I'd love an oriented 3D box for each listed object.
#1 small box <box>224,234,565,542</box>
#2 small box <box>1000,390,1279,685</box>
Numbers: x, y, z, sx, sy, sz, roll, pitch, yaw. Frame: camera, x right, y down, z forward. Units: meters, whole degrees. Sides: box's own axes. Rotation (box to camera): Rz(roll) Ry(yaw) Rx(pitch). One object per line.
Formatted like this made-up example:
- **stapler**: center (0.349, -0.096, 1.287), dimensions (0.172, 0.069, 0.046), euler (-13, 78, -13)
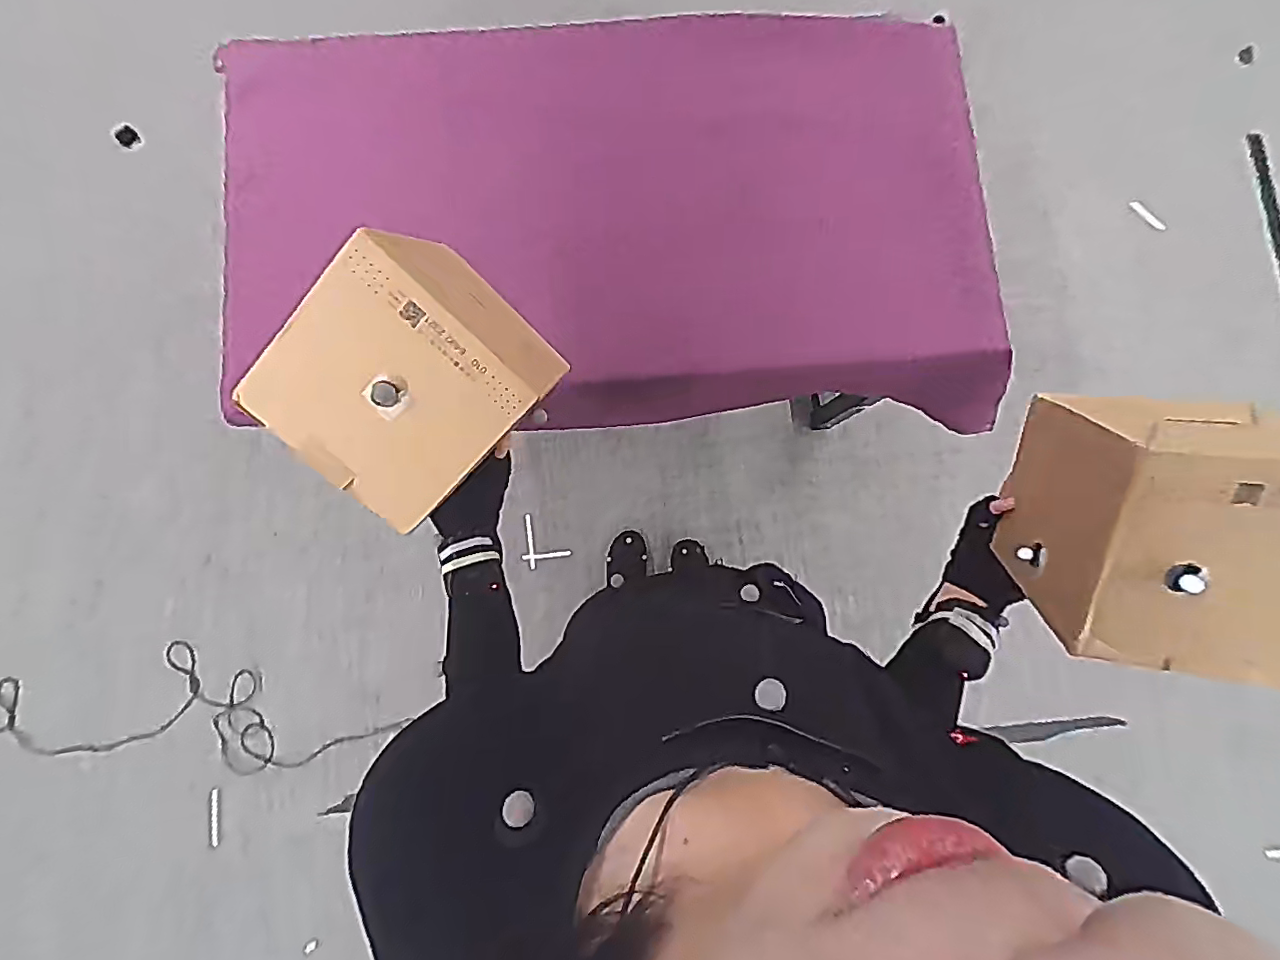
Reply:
- **small box**: center (-0.186, -0.086, 0.463), dimensions (0.168, 0.179, 0.176), euler (43, 105, -13)
- **small box**: center (0.417, 0.029, 0.417), dimensions (0.168, 0.179, 0.176), euler (6, 113, 13)
